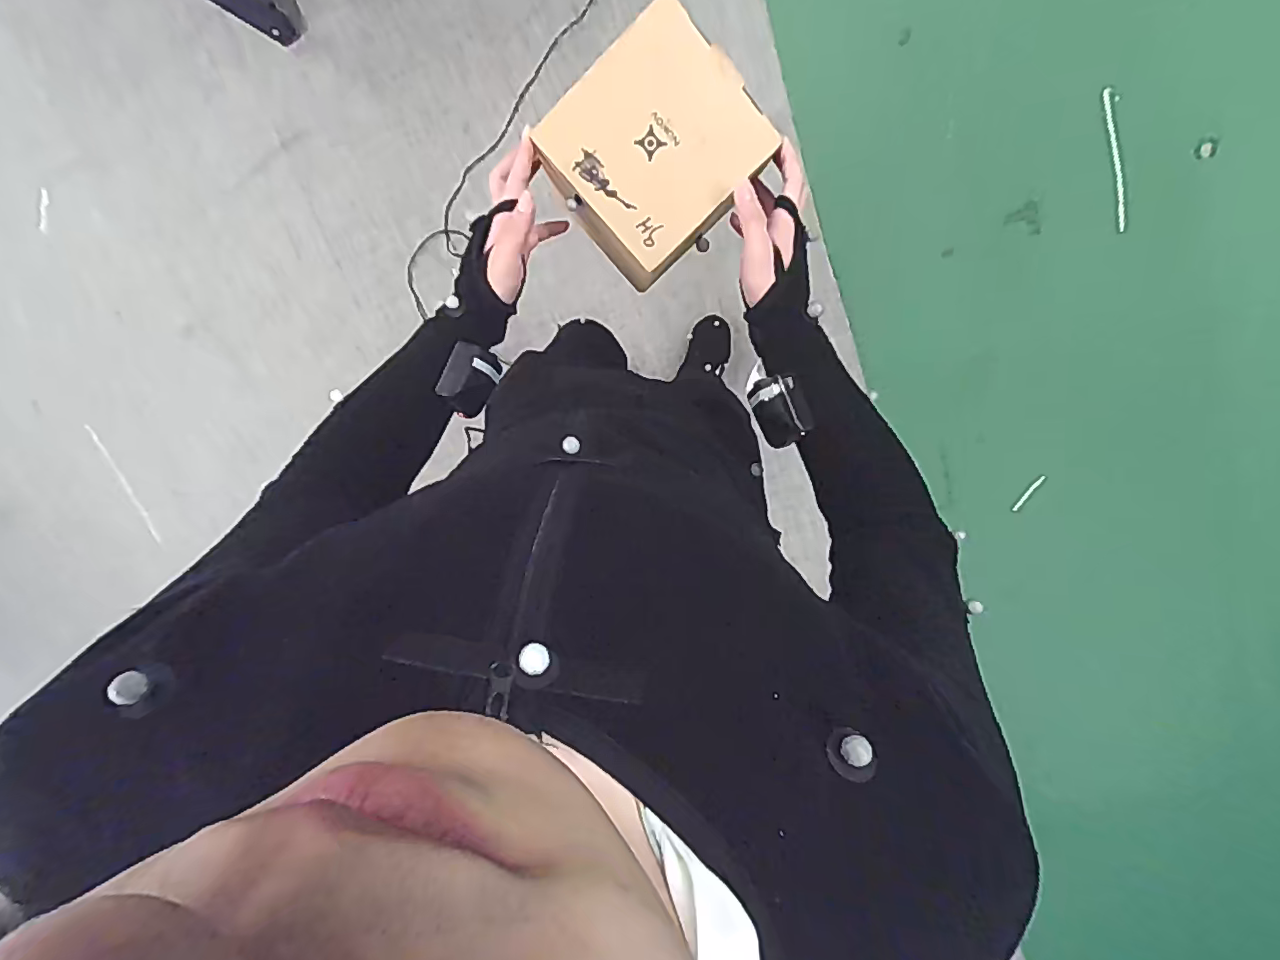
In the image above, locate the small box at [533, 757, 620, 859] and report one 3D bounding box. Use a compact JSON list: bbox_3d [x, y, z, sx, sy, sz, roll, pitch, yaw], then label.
[{"bbox_3d":[-0.160,0.877,1.459,0.179,0.176,0.168,-14,103,13],"label":"small box"}]
